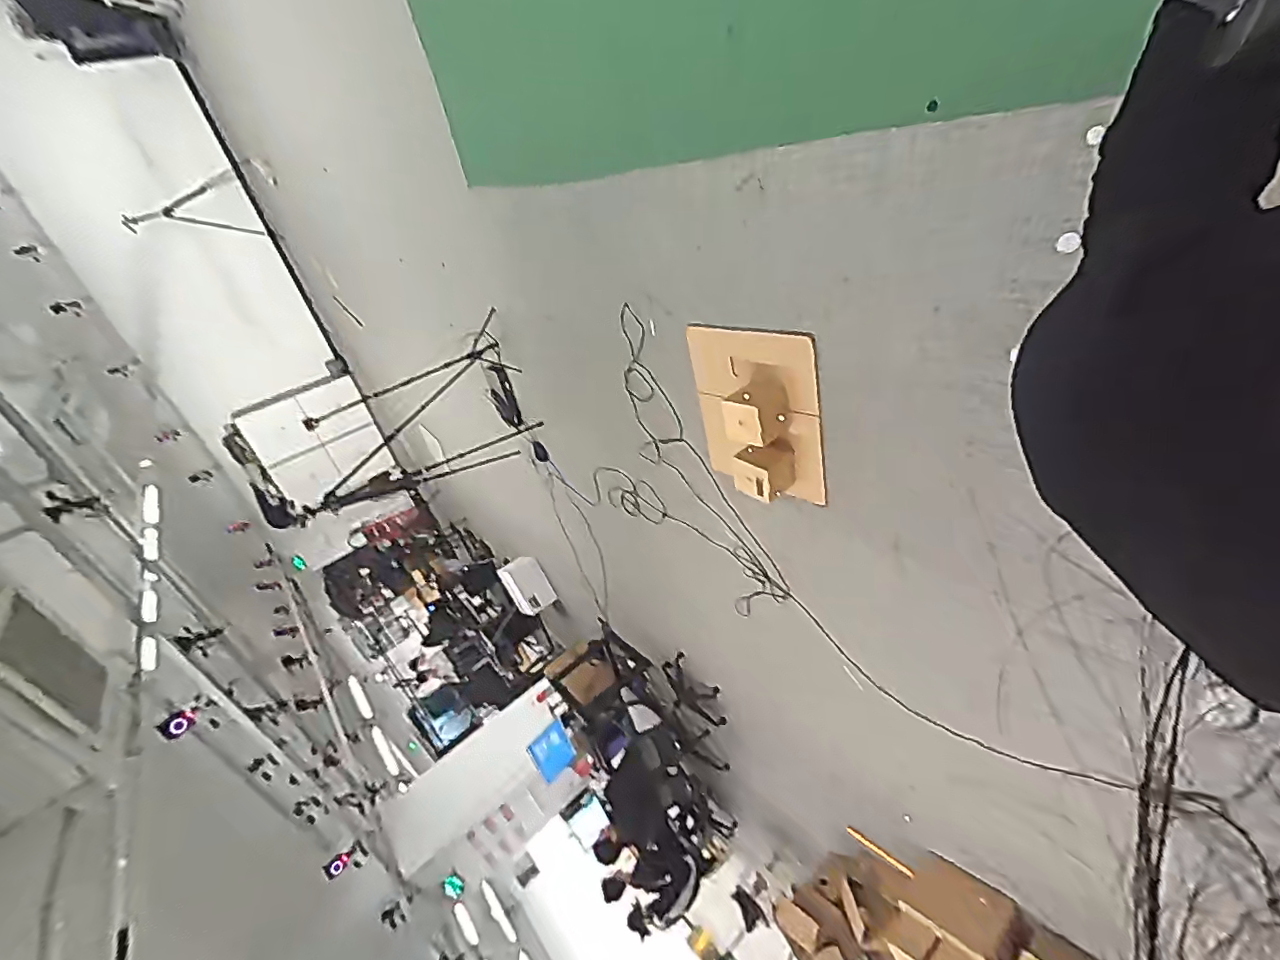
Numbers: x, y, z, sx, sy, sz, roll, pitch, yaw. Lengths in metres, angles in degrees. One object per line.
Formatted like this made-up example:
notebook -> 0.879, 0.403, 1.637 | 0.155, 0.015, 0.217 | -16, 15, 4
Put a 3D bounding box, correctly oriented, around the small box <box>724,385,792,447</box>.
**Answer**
small box -> 0.446, -0.246, 2.029 | 0.179, 0.176, 0.168 | 20, 135, 47
